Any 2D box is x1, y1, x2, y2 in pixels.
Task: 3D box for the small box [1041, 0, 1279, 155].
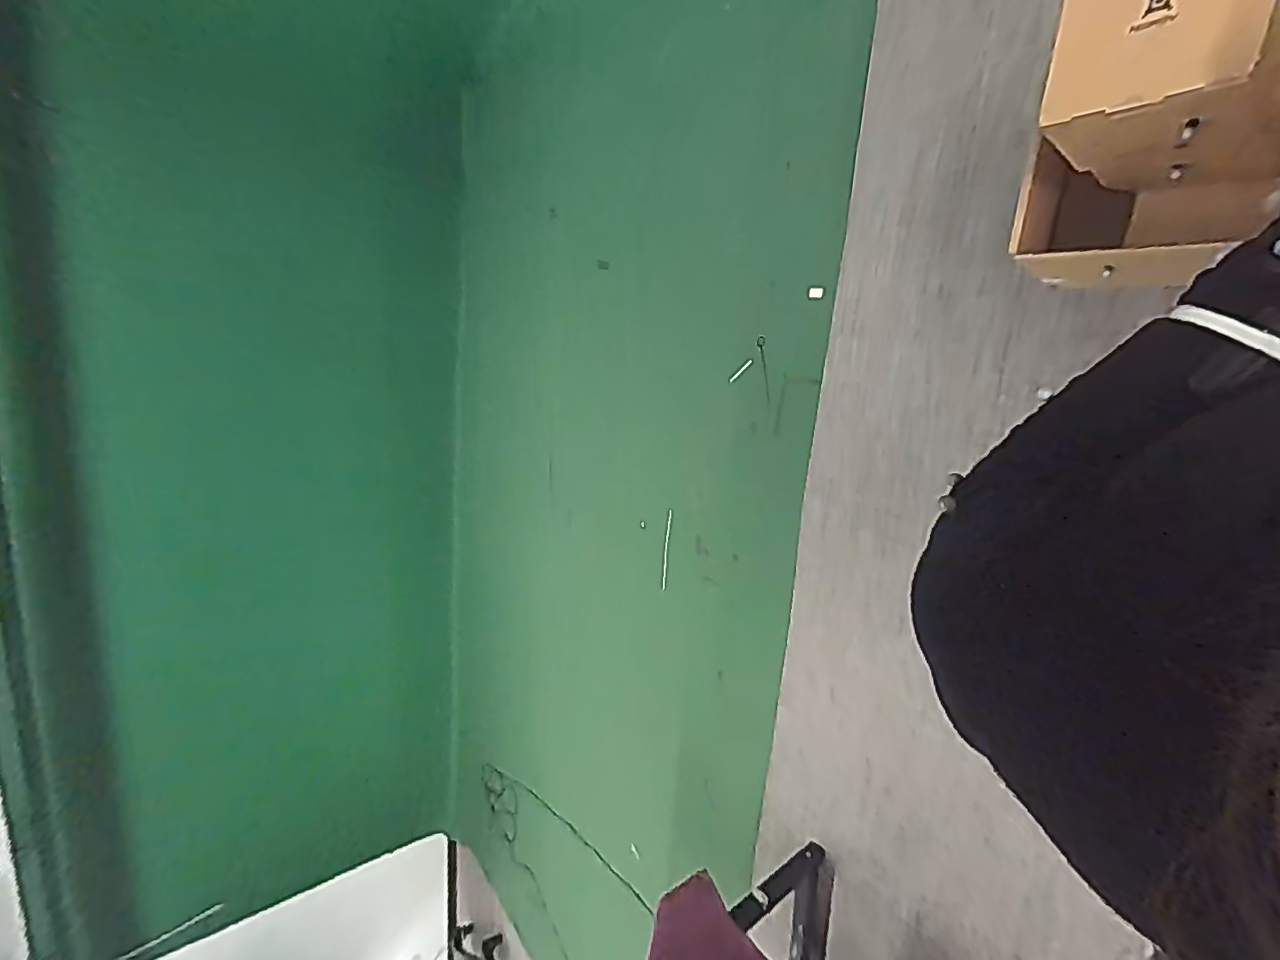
[{"bbox_3d":[0.572,-0.471,0.577,0.168,0.176,0.179,22,110,49],"label":"small box"}]
